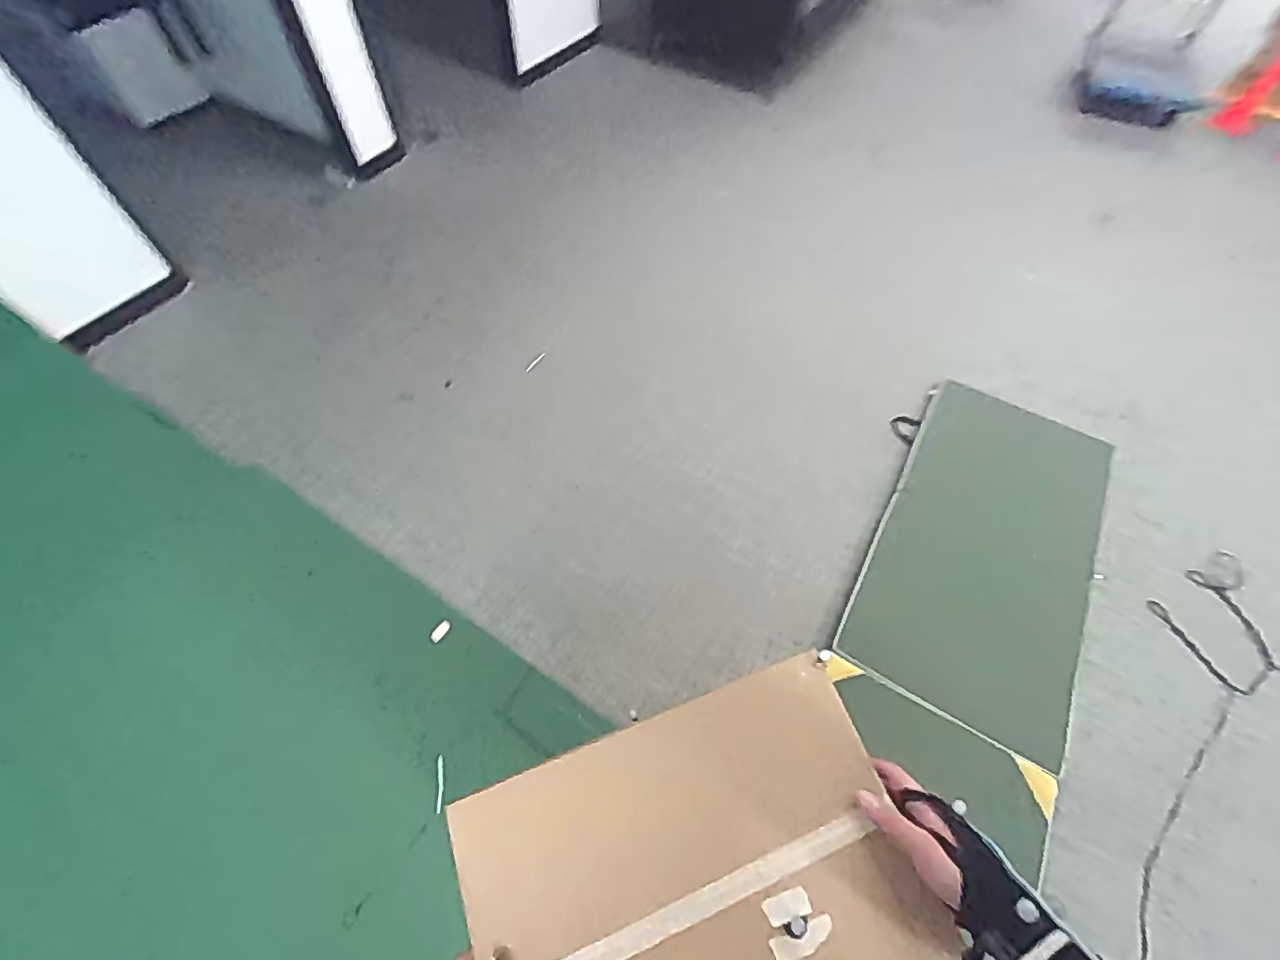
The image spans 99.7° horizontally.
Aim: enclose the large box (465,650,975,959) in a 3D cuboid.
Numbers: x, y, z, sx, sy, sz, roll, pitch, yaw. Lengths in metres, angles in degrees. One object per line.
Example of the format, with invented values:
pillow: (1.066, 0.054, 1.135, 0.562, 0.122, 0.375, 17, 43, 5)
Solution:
large box: (0.060, 0.442, 0.634, 0.408, 0.320, 0.320, -18, 67, -11)
